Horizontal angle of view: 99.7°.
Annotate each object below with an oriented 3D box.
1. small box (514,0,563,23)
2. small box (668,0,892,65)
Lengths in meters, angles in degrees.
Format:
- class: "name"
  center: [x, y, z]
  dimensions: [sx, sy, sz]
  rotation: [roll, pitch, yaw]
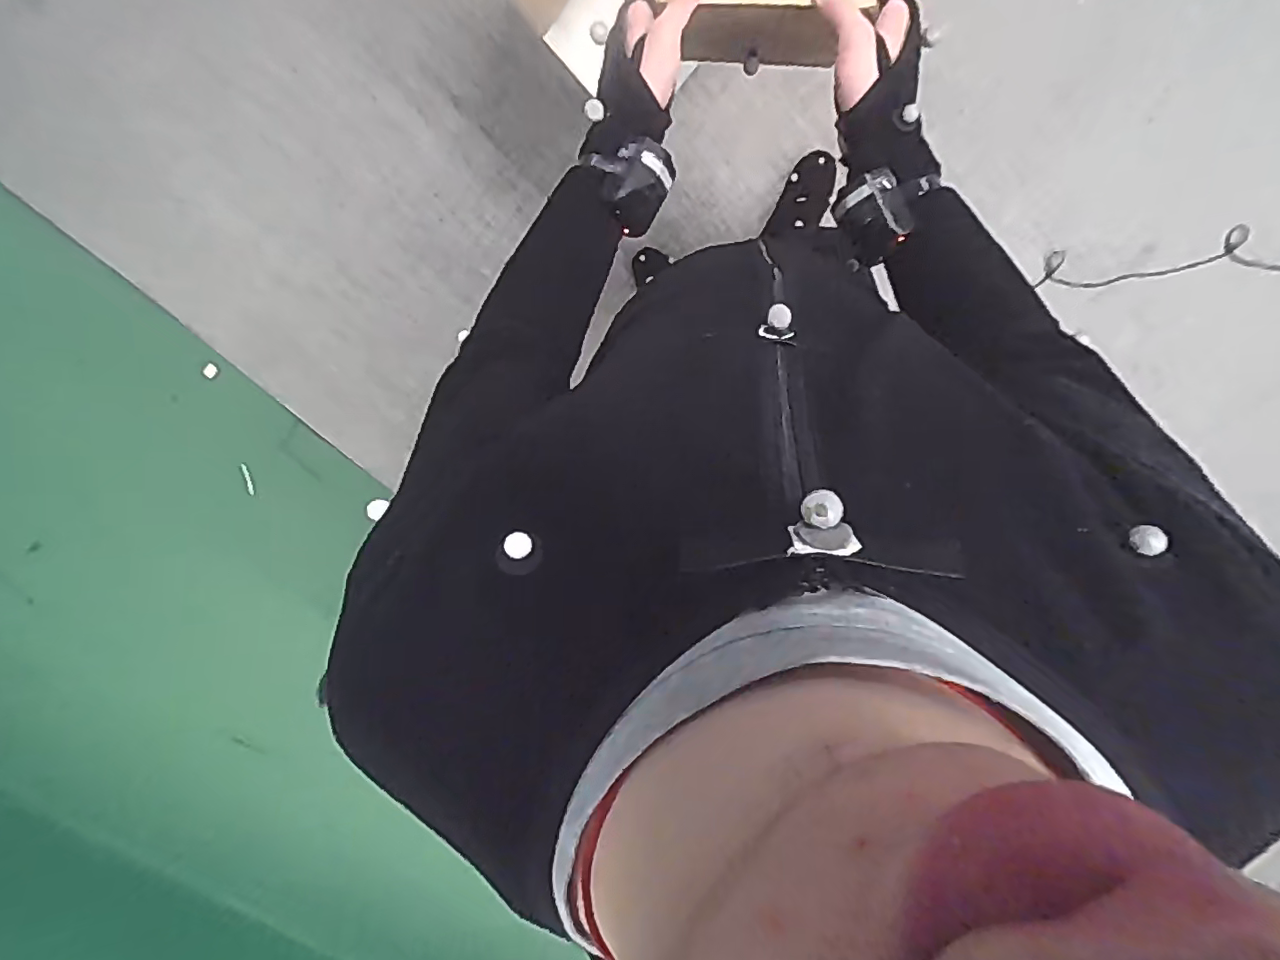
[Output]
- class: "small box"
  center: [-0.129, -0.653, 0.581]
  dimensions: [0.168, 0.176, 0.179]
  rotation: [42, 111, -17]
- class: "small box"
  center: [0.119, -0.477, 0.459]
  dimensions: [0.179, 0.176, 0.168]
  rotation: [5, 115, 4]
